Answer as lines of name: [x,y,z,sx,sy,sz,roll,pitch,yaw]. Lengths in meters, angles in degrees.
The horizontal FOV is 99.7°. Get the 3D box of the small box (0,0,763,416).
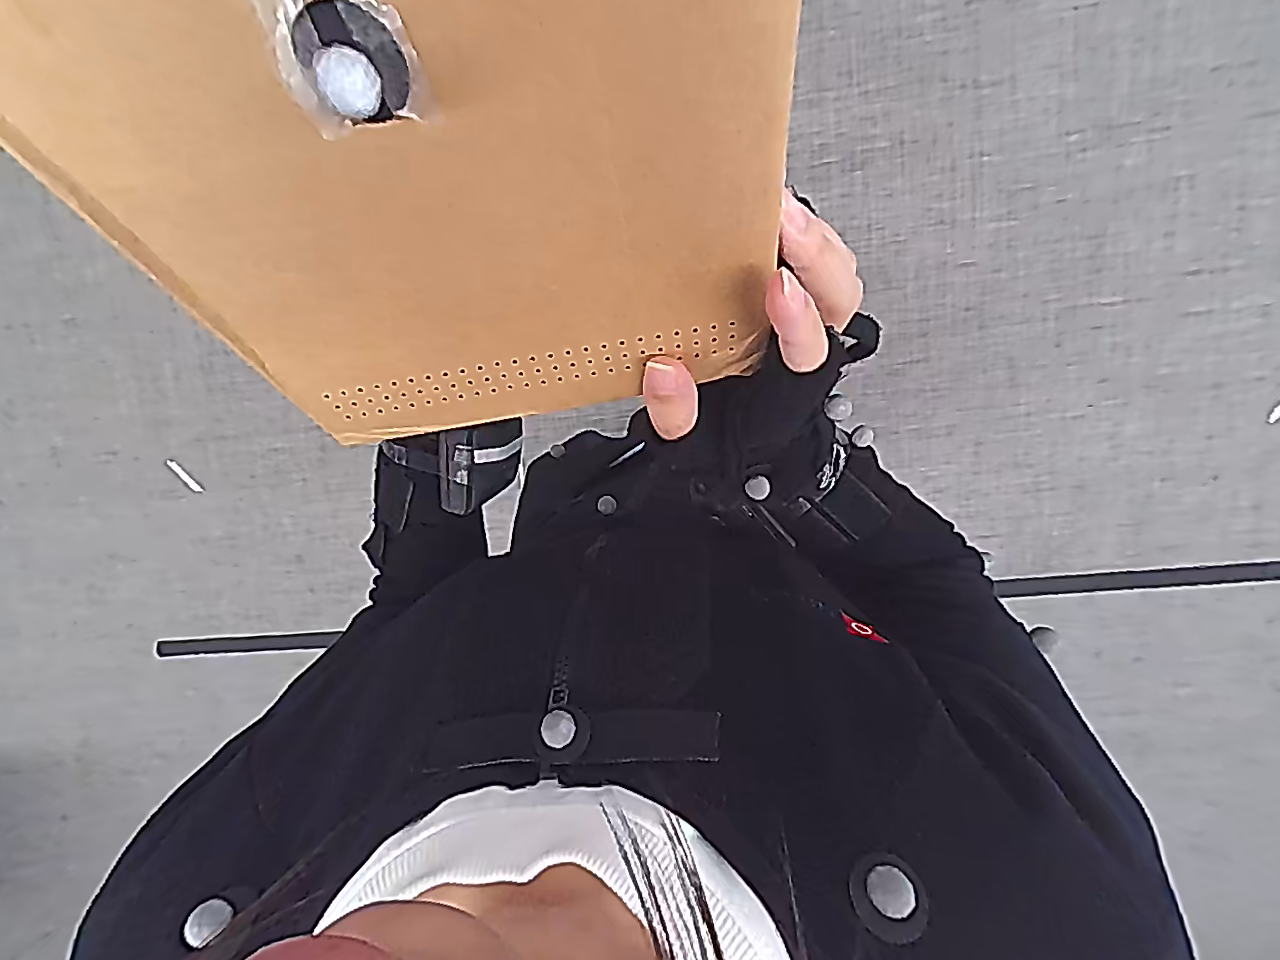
small box: [-0.053,-0.142,0.205,0.179,0.176,0.168,-9,61,5]
